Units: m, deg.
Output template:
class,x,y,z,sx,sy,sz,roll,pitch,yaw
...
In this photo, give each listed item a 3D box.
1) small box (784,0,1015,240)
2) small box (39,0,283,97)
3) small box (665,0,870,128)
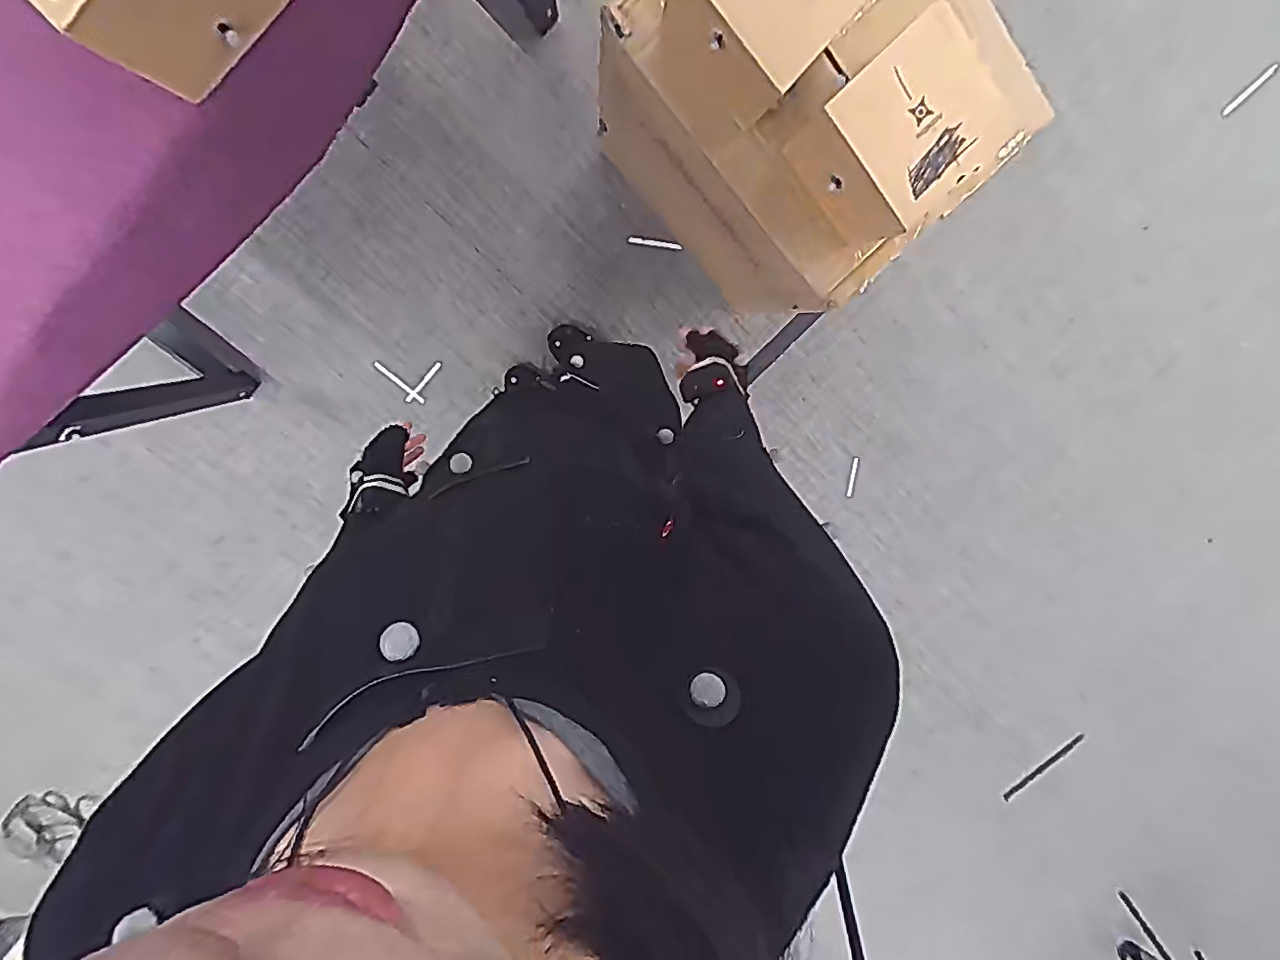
class,x,y,z,sx,sy,sz,roll,pitch,yaw
small box,0.318,-0.436,0.697,0.168,0.176,0.179,-41,103,8
small box,-0.479,-0.516,0.502,0.179,0.176,0.168,-41,104,7
small box,0.148,-0.570,0.646,0.168,0.176,0.179,-44,106,10
